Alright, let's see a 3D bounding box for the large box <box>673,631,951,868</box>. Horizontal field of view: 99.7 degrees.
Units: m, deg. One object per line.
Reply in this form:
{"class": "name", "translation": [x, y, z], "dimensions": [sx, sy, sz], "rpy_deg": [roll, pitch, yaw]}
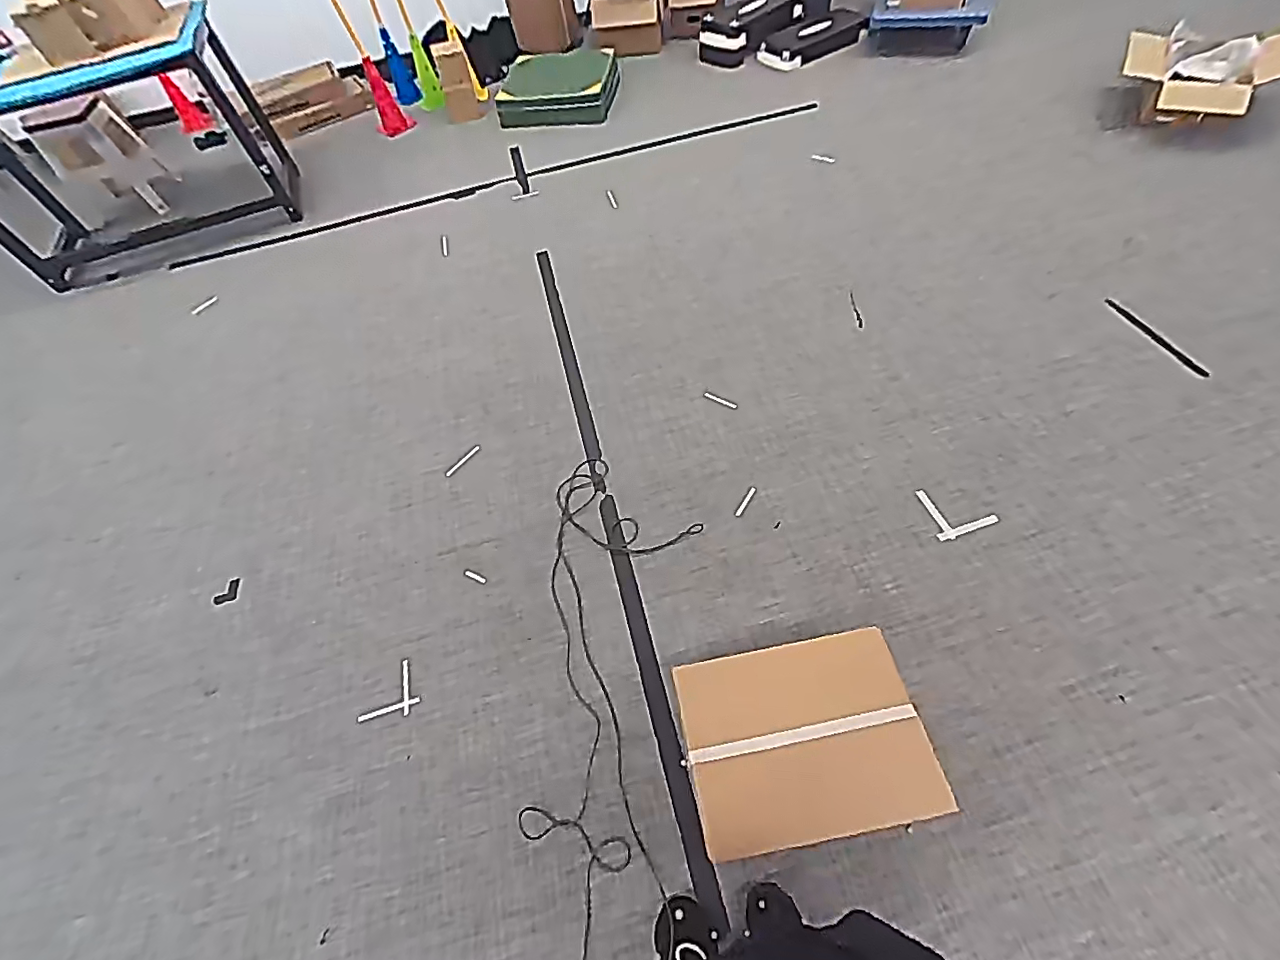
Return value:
{"class": "large box", "translation": [0.298, 0.533, 1.068], "dimensions": [0.408, 0.320, 0.320], "rpy_deg": [-11, 54, -1]}
